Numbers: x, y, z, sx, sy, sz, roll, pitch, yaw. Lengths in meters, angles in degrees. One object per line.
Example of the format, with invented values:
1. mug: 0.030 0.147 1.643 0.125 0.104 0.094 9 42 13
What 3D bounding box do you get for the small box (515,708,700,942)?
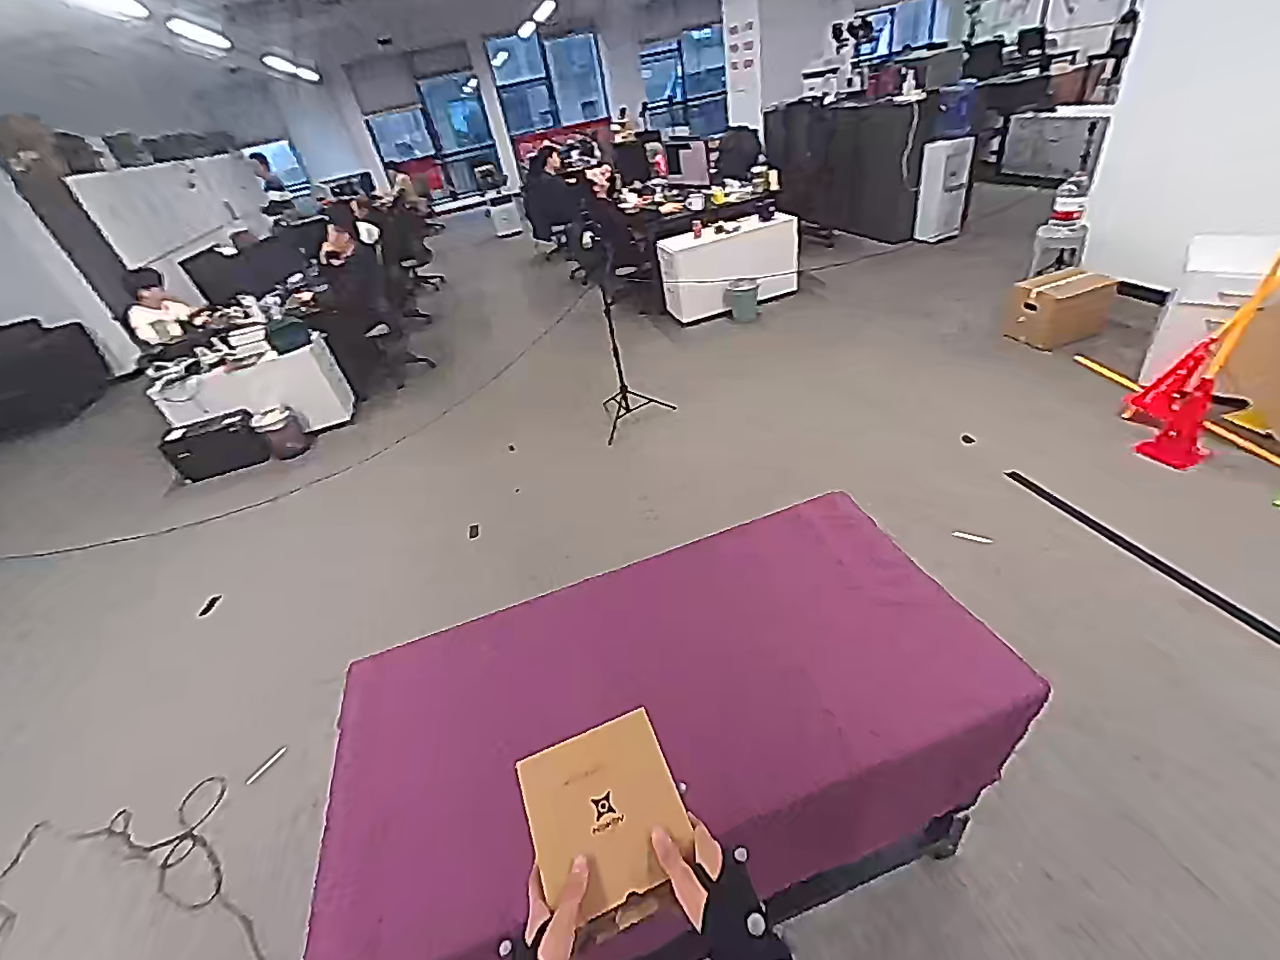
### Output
1. small box: -0.036 0.414 0.649 0.168 0.176 0.179 -18 48 -12
